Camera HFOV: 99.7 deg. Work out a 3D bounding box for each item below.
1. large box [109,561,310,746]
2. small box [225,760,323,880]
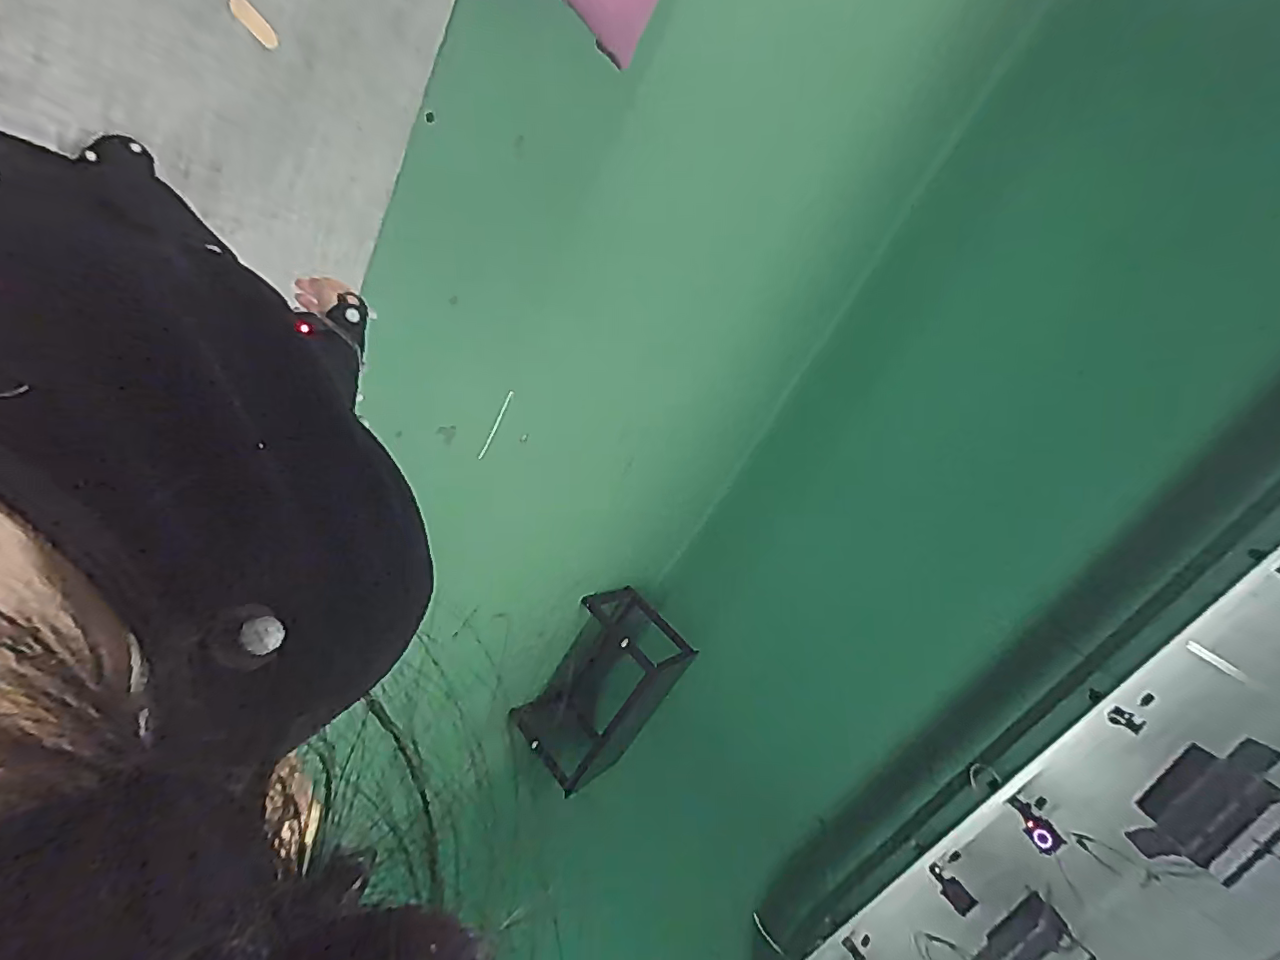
[{"bbox_3d":[-1.301,0.511,1.666,0.408,0.320,0.320,-19,142,-47],"label":"large box"},{"bbox_3d":[-0.940,0.856,1.384,0.168,0.176,0.179,-13,134,-48],"label":"small box"}]
